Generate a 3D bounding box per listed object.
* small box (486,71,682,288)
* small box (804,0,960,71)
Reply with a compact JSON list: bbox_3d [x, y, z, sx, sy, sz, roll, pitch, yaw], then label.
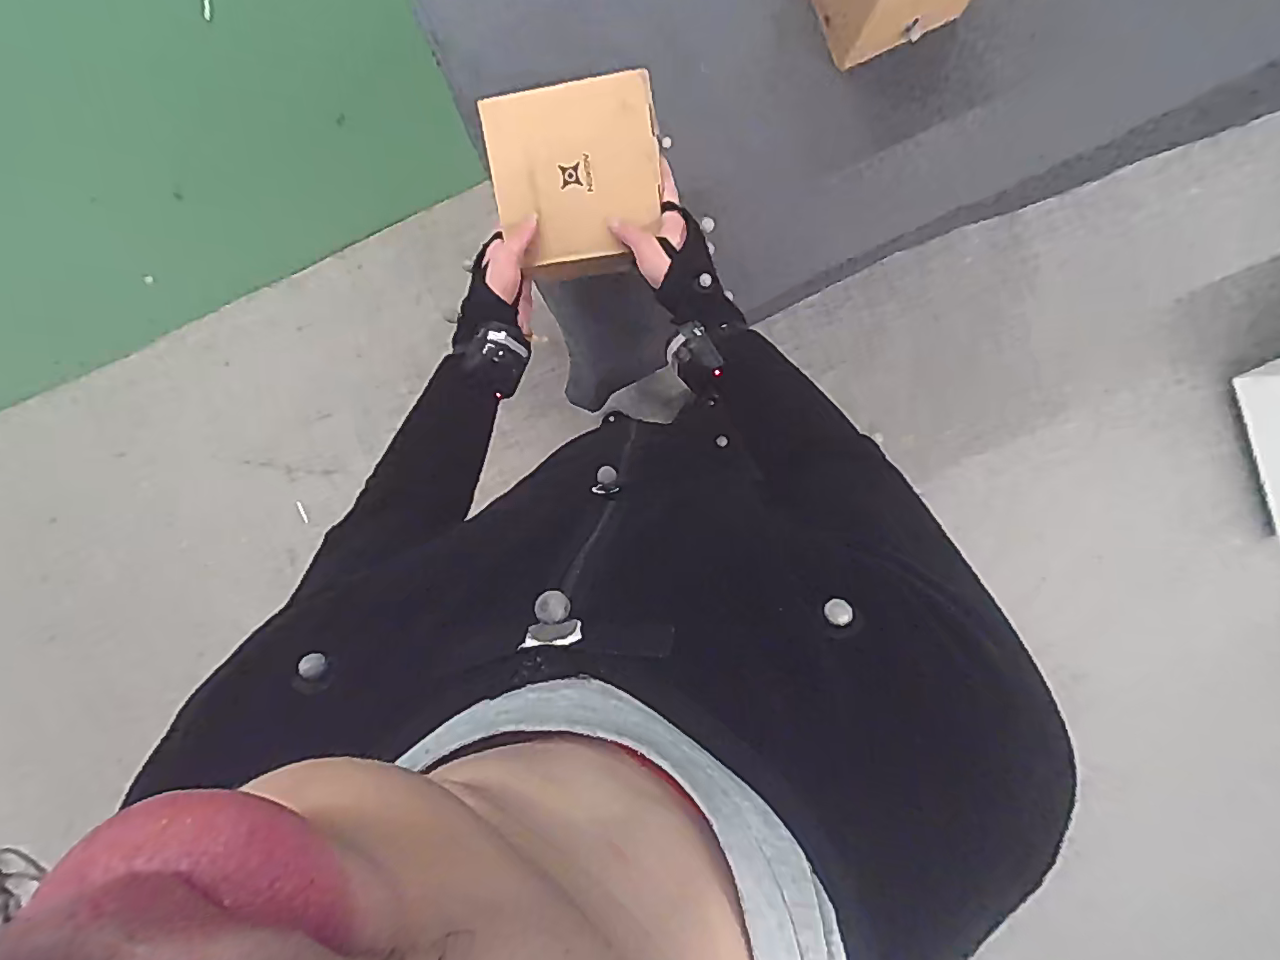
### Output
[{"bbox_3d":[-0.050,-0.321,0.614,0.179,0.176,0.168,-7,104,6],"label":"small box"},{"bbox_3d":[0.314,-0.658,0.657,0.179,0.176,0.168,-25,96,1],"label":"small box"}]
